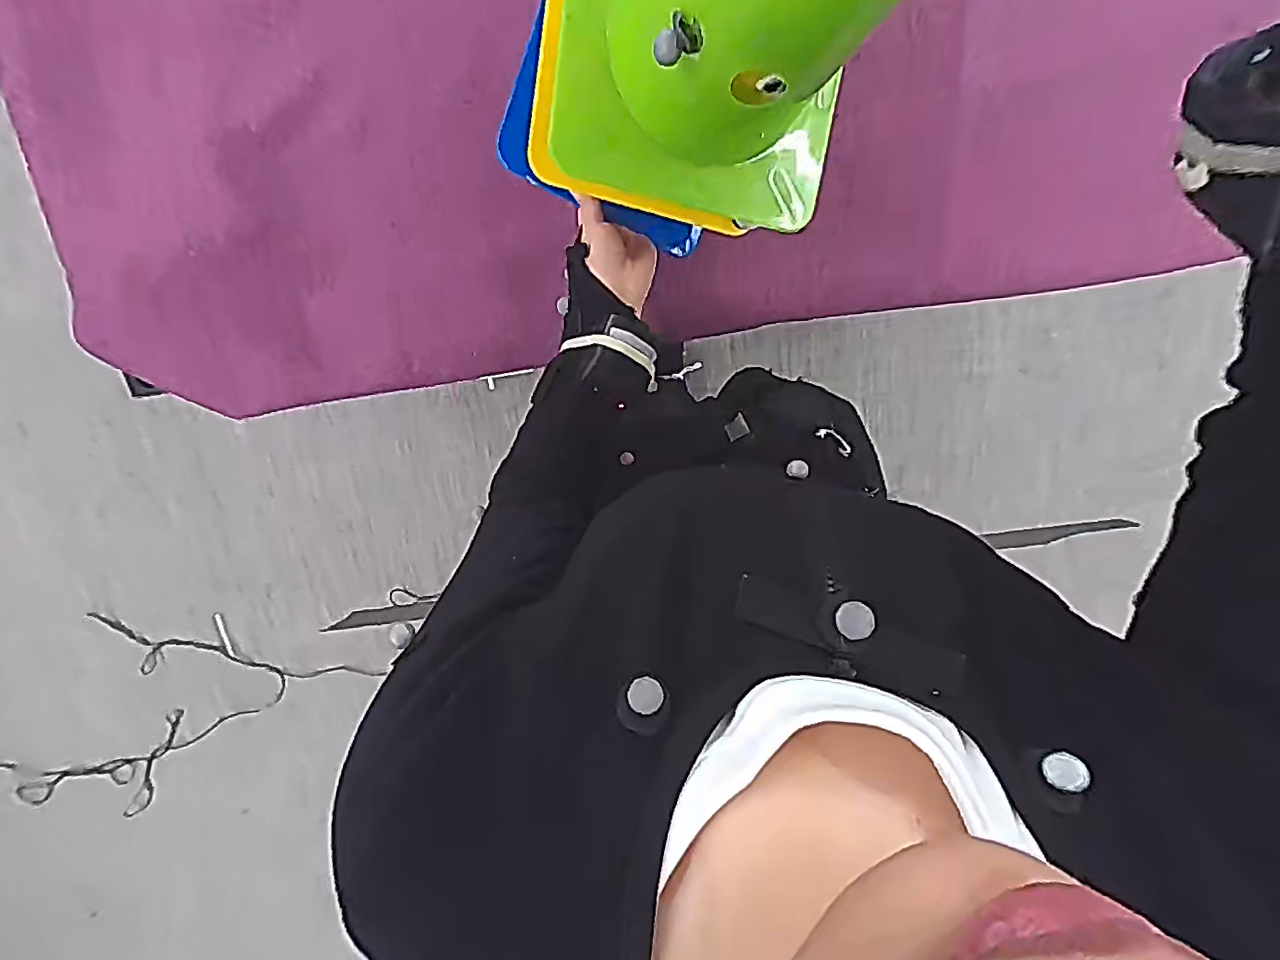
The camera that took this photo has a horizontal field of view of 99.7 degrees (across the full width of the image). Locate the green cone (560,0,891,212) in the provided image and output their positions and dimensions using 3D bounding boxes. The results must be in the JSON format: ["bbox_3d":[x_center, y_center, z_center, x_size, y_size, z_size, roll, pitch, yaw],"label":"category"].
[{"bbox_3d":[0.100,-0.254,0.189,0.200,0.368,0.202,4,103,-17],"label":"green cone"}]
